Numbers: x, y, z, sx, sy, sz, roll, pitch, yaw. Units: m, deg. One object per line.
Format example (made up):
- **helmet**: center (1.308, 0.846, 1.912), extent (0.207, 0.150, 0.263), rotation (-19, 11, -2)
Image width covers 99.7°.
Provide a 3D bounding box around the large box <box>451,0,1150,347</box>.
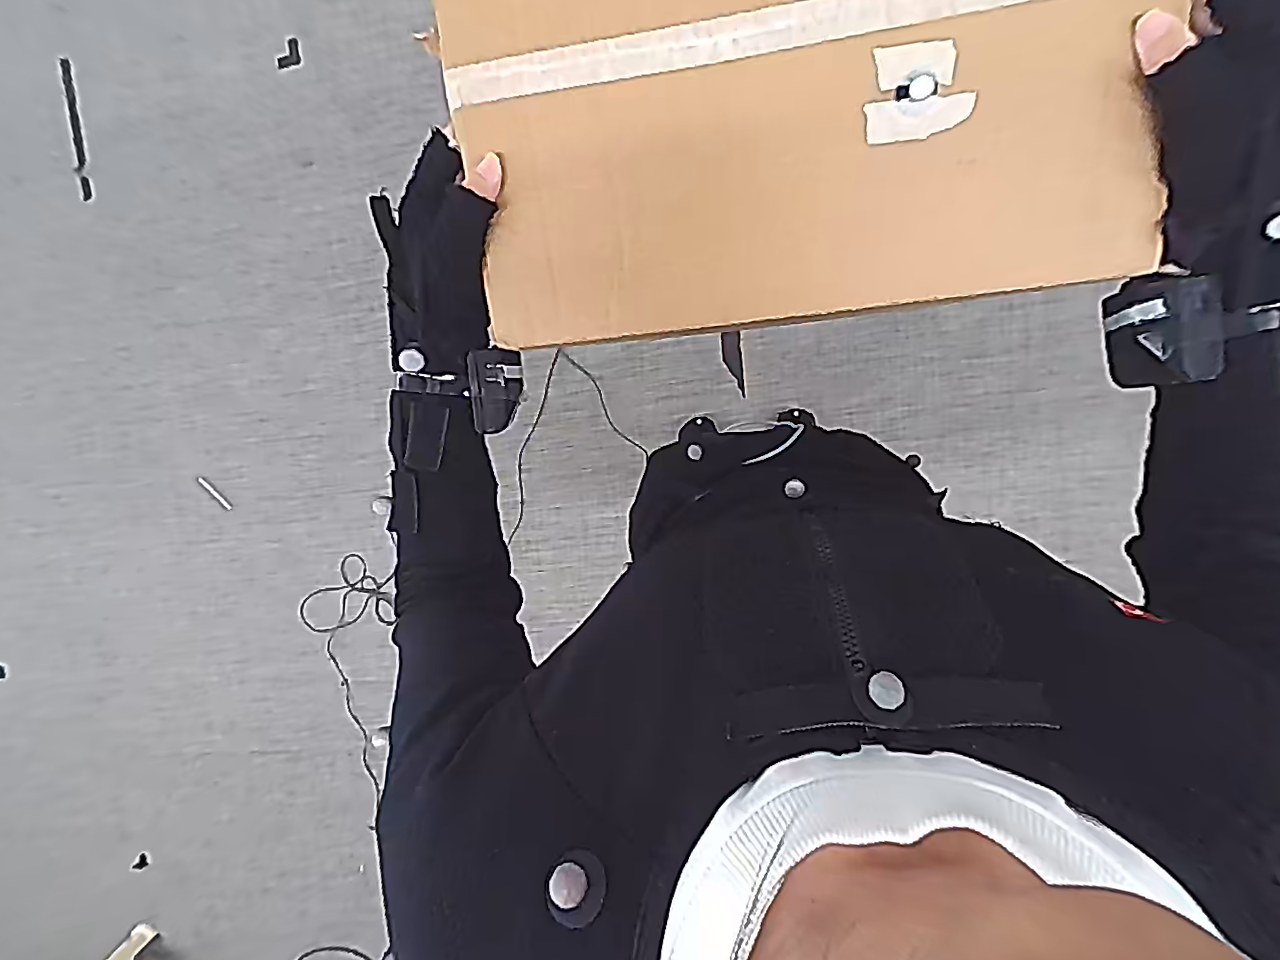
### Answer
- **large box**: center (0.097, -0.298, 0.465), extent (0.408, 0.320, 0.320), rotation (-5, 104, 7)
